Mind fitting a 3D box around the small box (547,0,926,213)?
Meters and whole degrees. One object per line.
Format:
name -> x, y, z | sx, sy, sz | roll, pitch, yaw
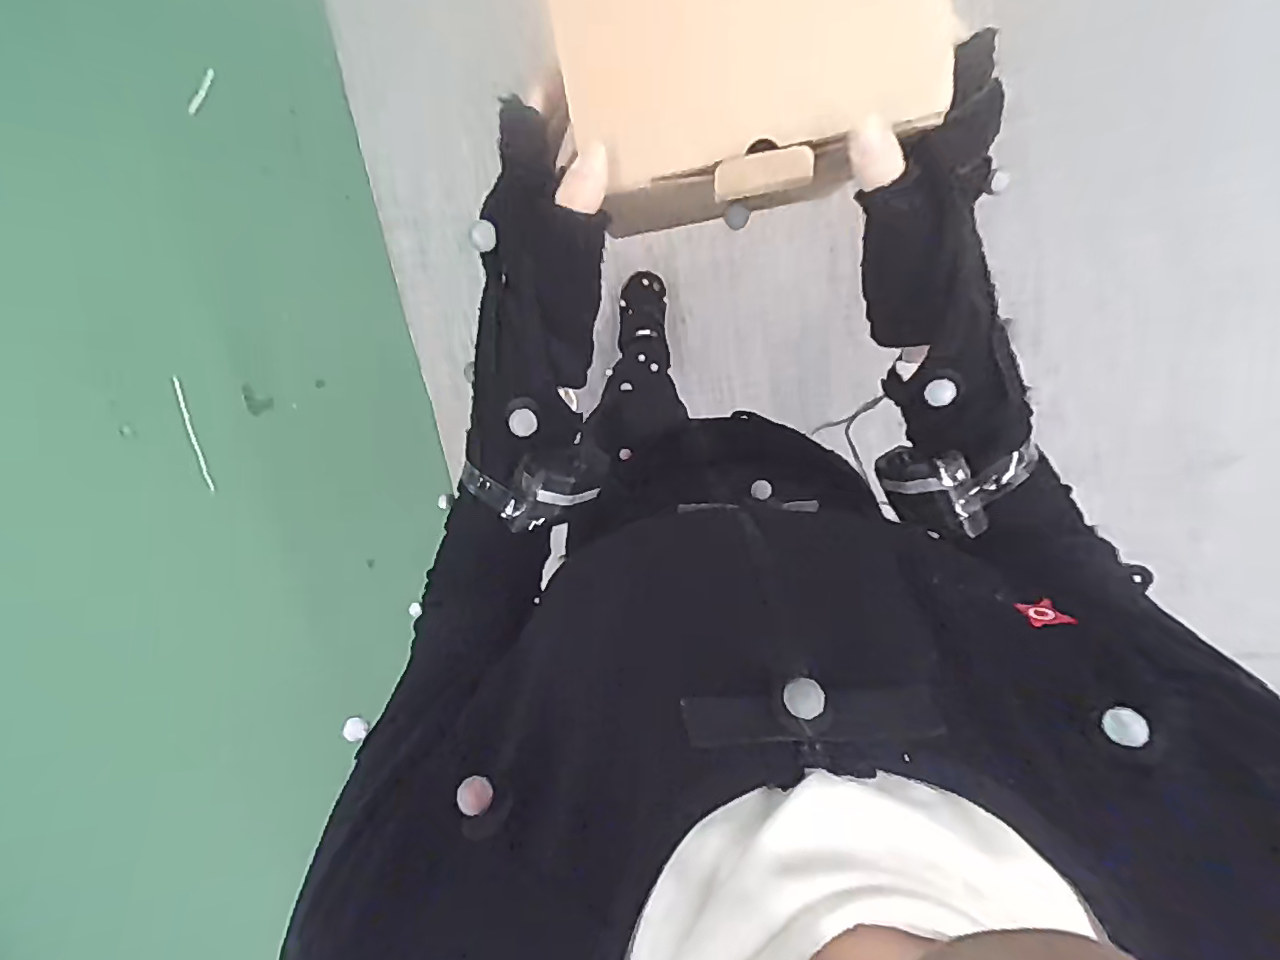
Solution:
small box -> 0.041, -0.262, 0.305 | 0.168, 0.176, 0.179 | -9, 108, 6
